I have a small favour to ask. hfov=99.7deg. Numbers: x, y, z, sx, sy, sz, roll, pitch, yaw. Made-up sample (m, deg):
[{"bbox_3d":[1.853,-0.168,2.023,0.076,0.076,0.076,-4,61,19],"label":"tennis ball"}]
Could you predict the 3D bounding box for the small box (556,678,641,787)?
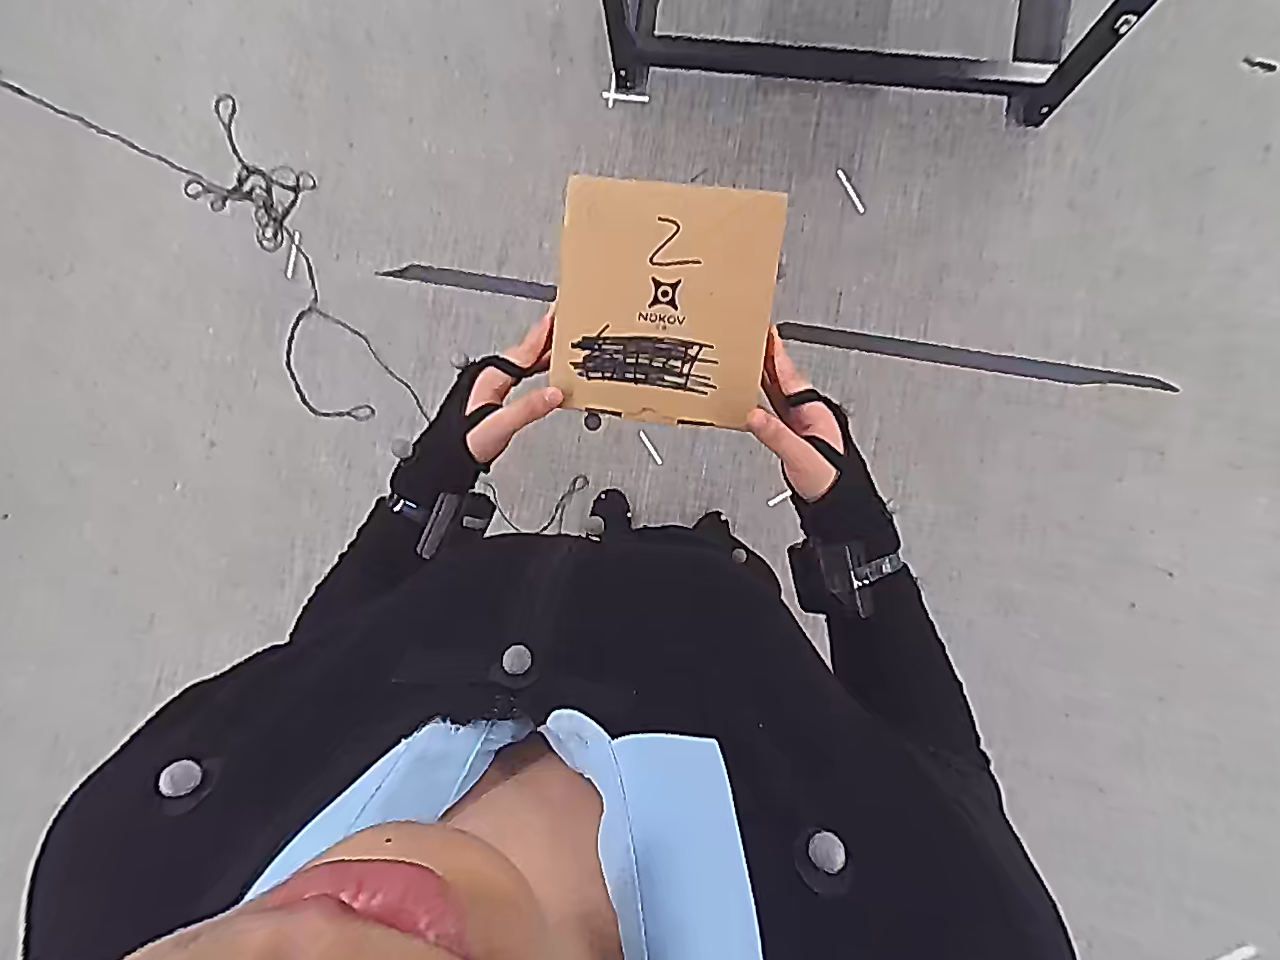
[{"bbox_3d":[-0.097,0.626,1.360,0.168,0.176,0.179,14,88,4],"label":"small box"}]
